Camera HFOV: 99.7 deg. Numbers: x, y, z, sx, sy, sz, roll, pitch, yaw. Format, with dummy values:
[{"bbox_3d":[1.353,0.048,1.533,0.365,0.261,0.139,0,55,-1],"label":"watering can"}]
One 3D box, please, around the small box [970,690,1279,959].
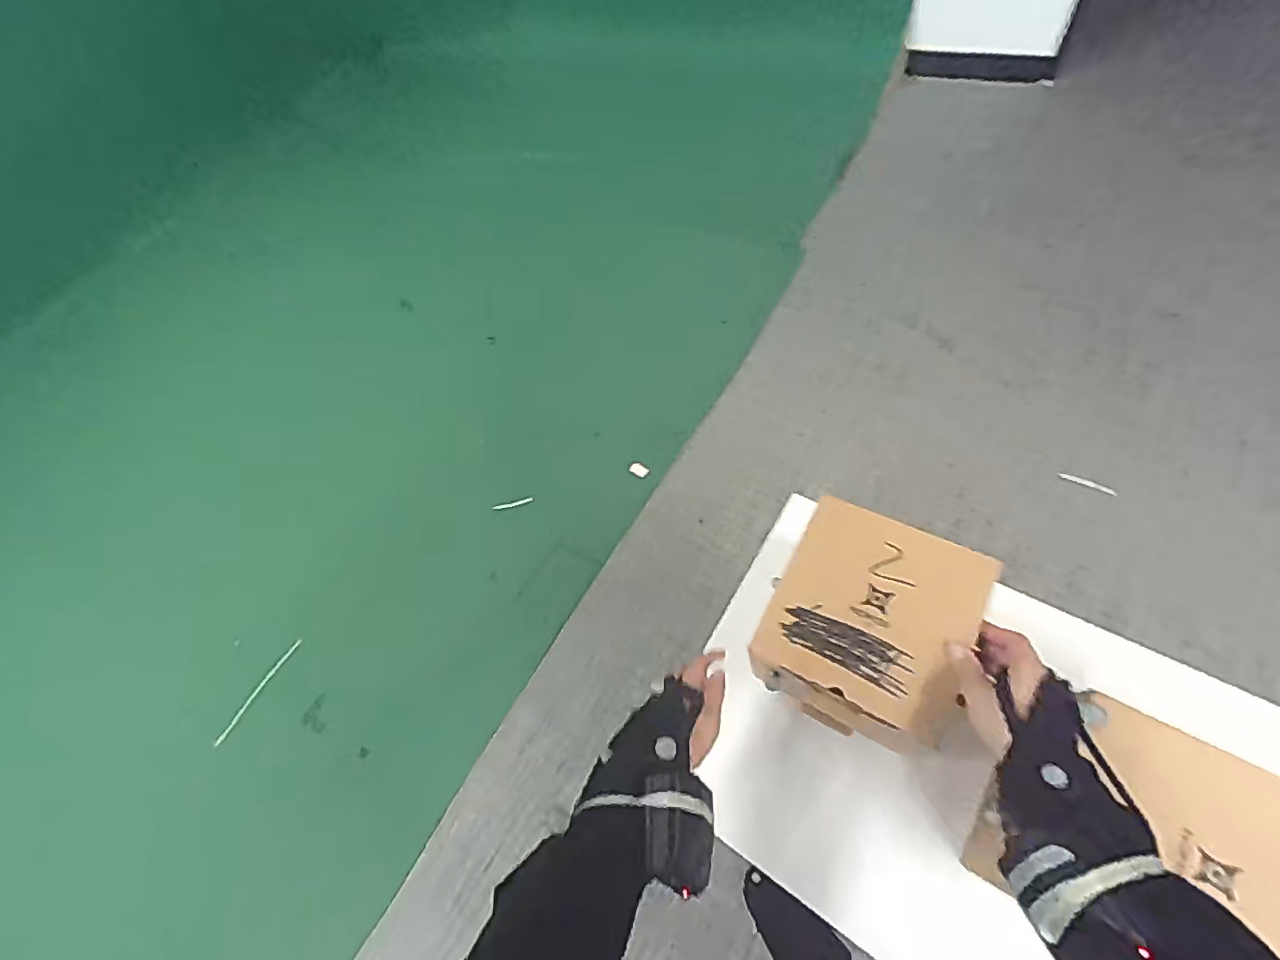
[{"bbox_3d":[0.398,0.296,0.430,0.179,0.176,0.168,25,73,24],"label":"small box"}]
